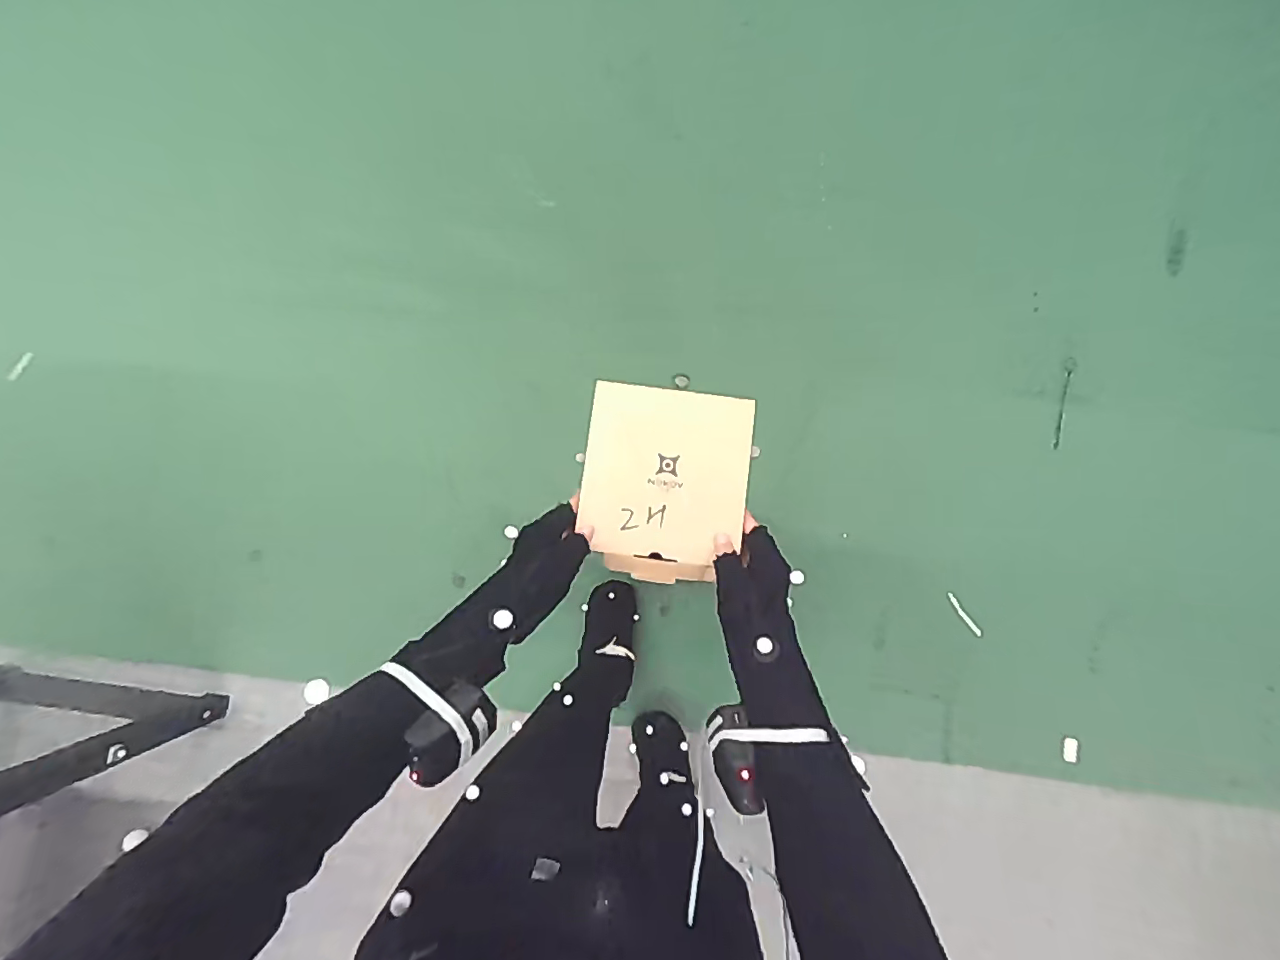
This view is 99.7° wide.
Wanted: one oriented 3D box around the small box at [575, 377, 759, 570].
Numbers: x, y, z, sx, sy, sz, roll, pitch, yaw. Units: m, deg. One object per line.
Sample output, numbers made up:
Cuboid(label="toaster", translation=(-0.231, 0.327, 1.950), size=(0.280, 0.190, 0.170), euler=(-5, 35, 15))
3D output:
Cuboid(label="small box", translation=(0.027, 0.001, 0.612), size=(0.168, 0.176, 0.179), euler=(8, 83, 0))

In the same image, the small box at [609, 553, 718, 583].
Cuboid(label="small box", translation=(0.046, 0.063, 0.887), size=(0.168, 0.176, 0.179), euler=(9, 84, 1))
